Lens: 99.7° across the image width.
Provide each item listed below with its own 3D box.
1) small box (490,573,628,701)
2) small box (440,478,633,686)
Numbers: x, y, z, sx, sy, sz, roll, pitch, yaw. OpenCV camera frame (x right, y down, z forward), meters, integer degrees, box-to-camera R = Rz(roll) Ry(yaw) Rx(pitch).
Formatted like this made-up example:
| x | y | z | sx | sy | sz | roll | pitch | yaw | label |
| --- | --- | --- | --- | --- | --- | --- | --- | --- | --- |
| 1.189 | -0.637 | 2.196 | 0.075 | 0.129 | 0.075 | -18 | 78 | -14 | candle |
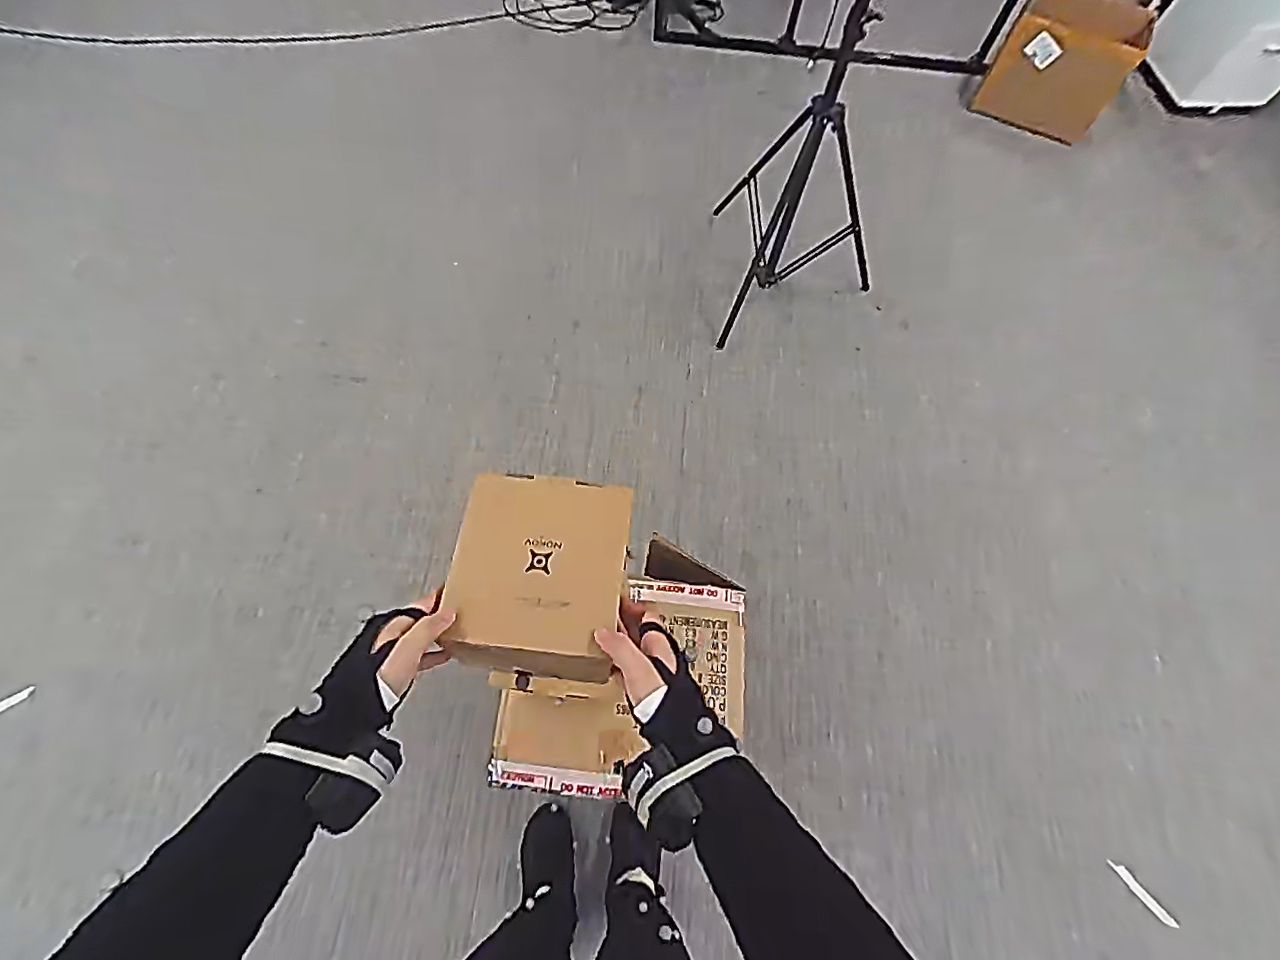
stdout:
| x | y | z | sx | sy | sz | roll | pitch | yaw | label |
| --- | --- | --- | --- | --- | --- | --- | --- | --- | --- |
| -0.110 | 0.231 | 0.814 | 0.168 | 0.176 | 0.179 | 6 | 68 | 2 | small box |
| -0.102 | 0.120 | 0.605 | 0.168 | 0.176 | 0.179 | 6 | 61 | -1 | small box |
